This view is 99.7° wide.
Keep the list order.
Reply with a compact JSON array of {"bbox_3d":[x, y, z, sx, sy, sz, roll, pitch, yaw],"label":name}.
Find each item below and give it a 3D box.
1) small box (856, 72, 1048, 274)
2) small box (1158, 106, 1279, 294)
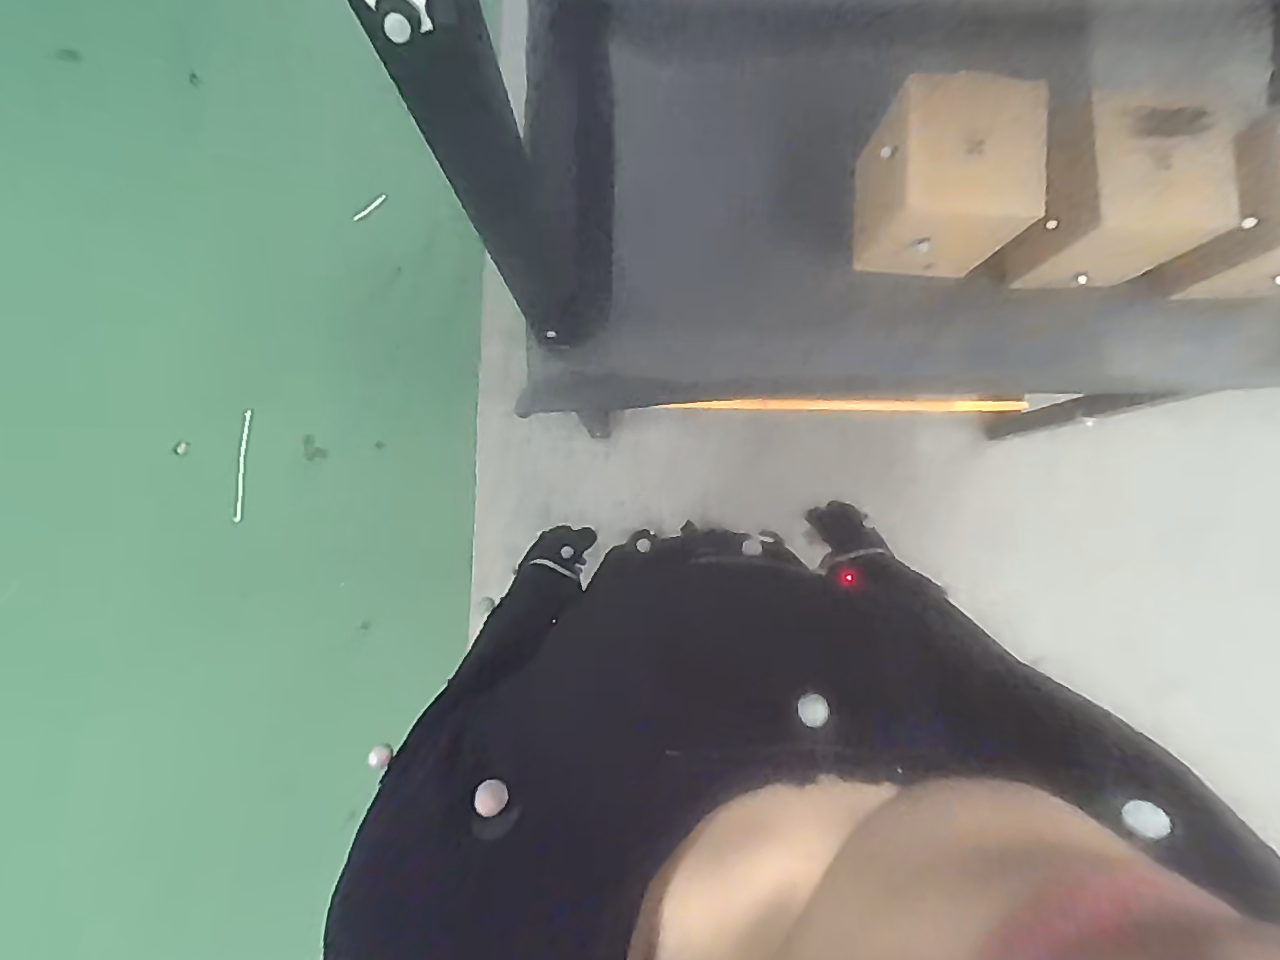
[{"bbox_3d":[0.406,-0.398,0.729,0.168,0.176,0.179,4,85,0],"label":"small box"},{"bbox_3d":[0.852,-0.361,0.721,0.168,0.176,0.179,-1,85,0],"label":"small box"}]
